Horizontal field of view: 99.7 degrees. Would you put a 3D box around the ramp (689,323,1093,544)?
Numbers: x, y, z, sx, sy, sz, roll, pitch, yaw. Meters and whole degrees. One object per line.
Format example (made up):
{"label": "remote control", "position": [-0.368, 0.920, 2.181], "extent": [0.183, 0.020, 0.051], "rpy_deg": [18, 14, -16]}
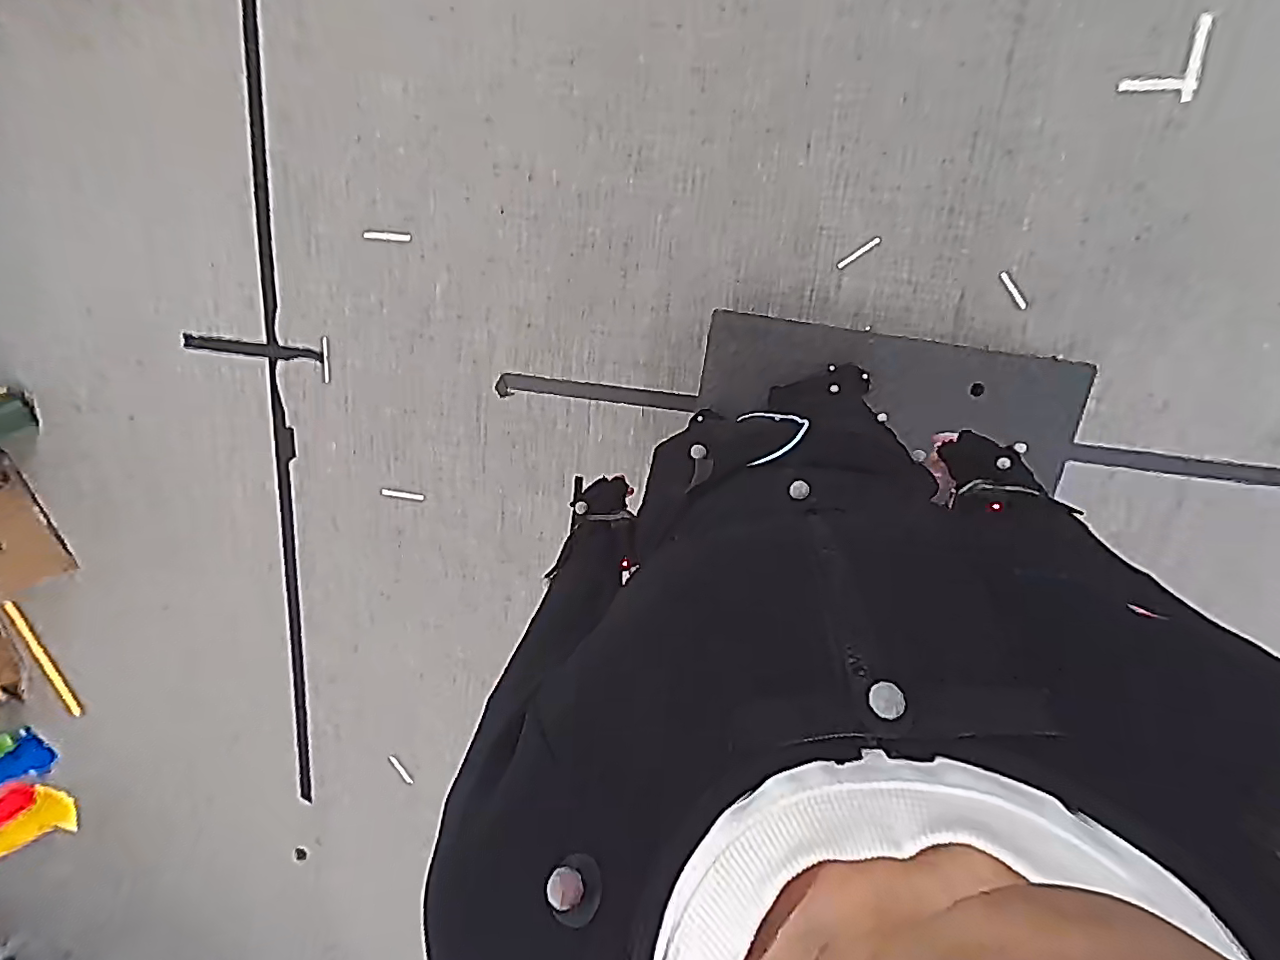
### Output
{"label": "ramp", "position": [0.650, -0.112, 1.426], "extent": [0.991, 0.206, 0.509], "rpy_deg": [7, 101, 8]}
